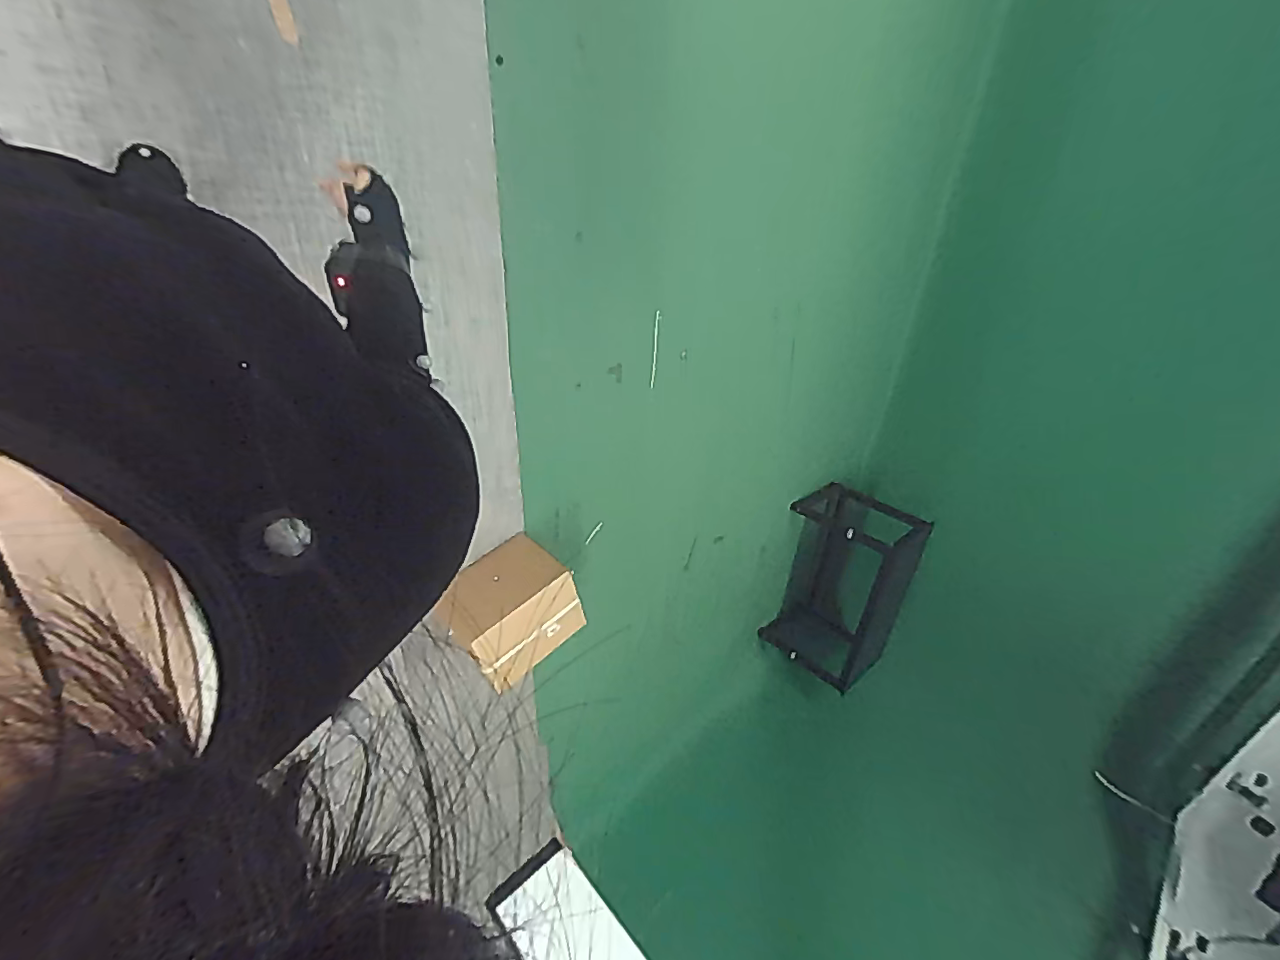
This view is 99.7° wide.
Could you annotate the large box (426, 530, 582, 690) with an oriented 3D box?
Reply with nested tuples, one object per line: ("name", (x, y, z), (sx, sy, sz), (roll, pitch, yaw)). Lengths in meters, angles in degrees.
("large box", (-0.484, 0.459, 1.970), (0.408, 0.320, 0.320), (-37, 137, -29))
